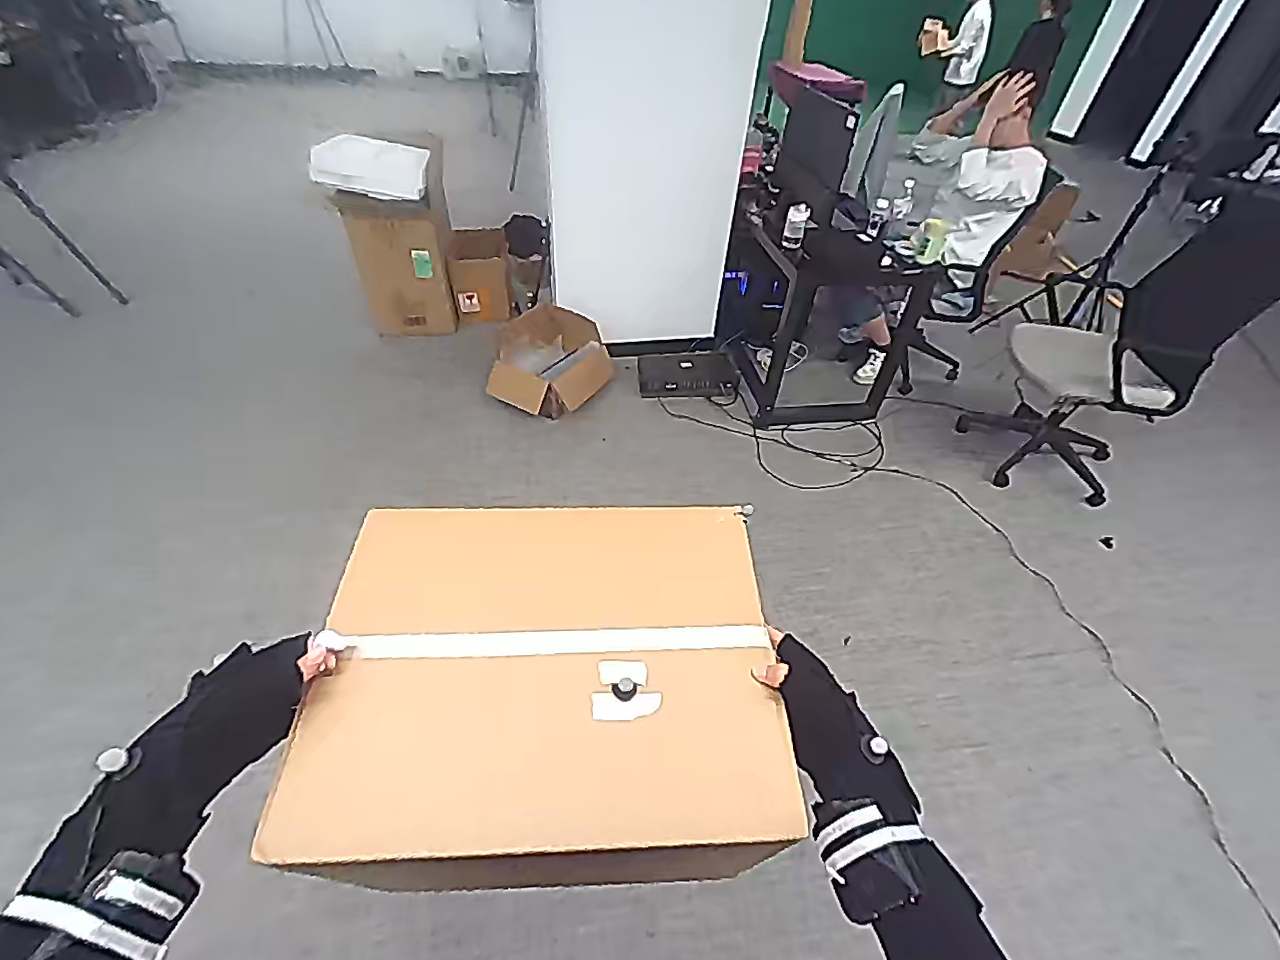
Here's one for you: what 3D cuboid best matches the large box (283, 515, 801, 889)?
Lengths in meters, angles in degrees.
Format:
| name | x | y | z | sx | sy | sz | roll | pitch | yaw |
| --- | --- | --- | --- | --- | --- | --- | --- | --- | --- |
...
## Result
| name | x | y | z | sx | sy | sz | roll | pitch | yaw |
| --- | --- | --- | --- | --- | --- | --- | --- | --- | --- |
| large box | -0.085 | 0.254 | 0.620 | 0.408 | 0.320 | 0.320 | 0 | 50 | -4 |
